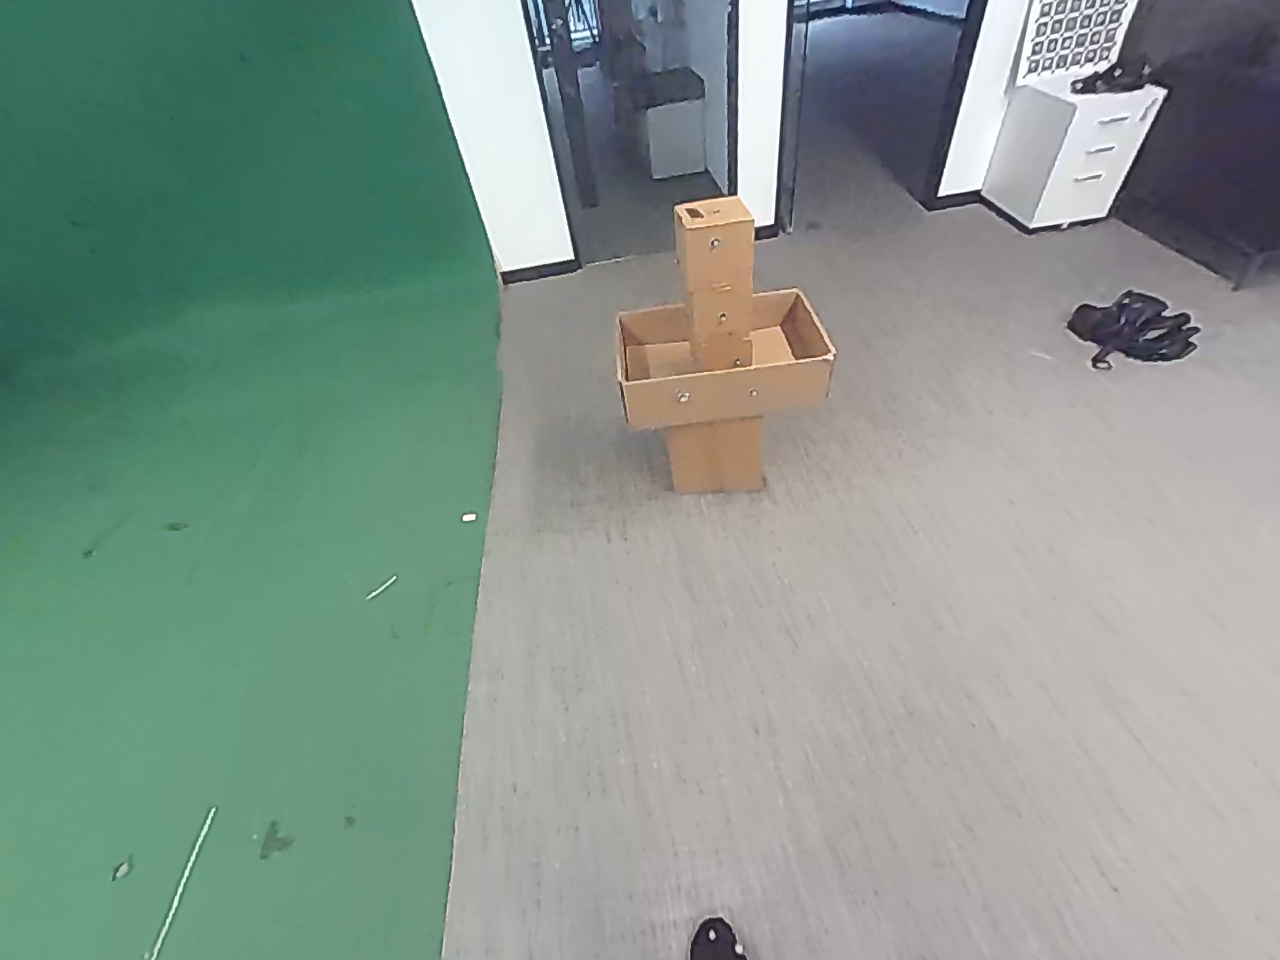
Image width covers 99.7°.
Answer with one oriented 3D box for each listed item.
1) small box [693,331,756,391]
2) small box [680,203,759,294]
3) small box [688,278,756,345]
[{"bbox_3d":[0.261,-0.391,1.684,0.168,0.176,0.179,-8,44,0],"label":"small box"},{"bbox_3d":[0.211,-0.615,1.448,0.179,0.176,0.168,-9,46,-1],"label":"small box"},{"bbox_3d":[0.236,-0.505,1.569,0.168,0.176,0.179,-8,47,0],"label":"small box"}]
